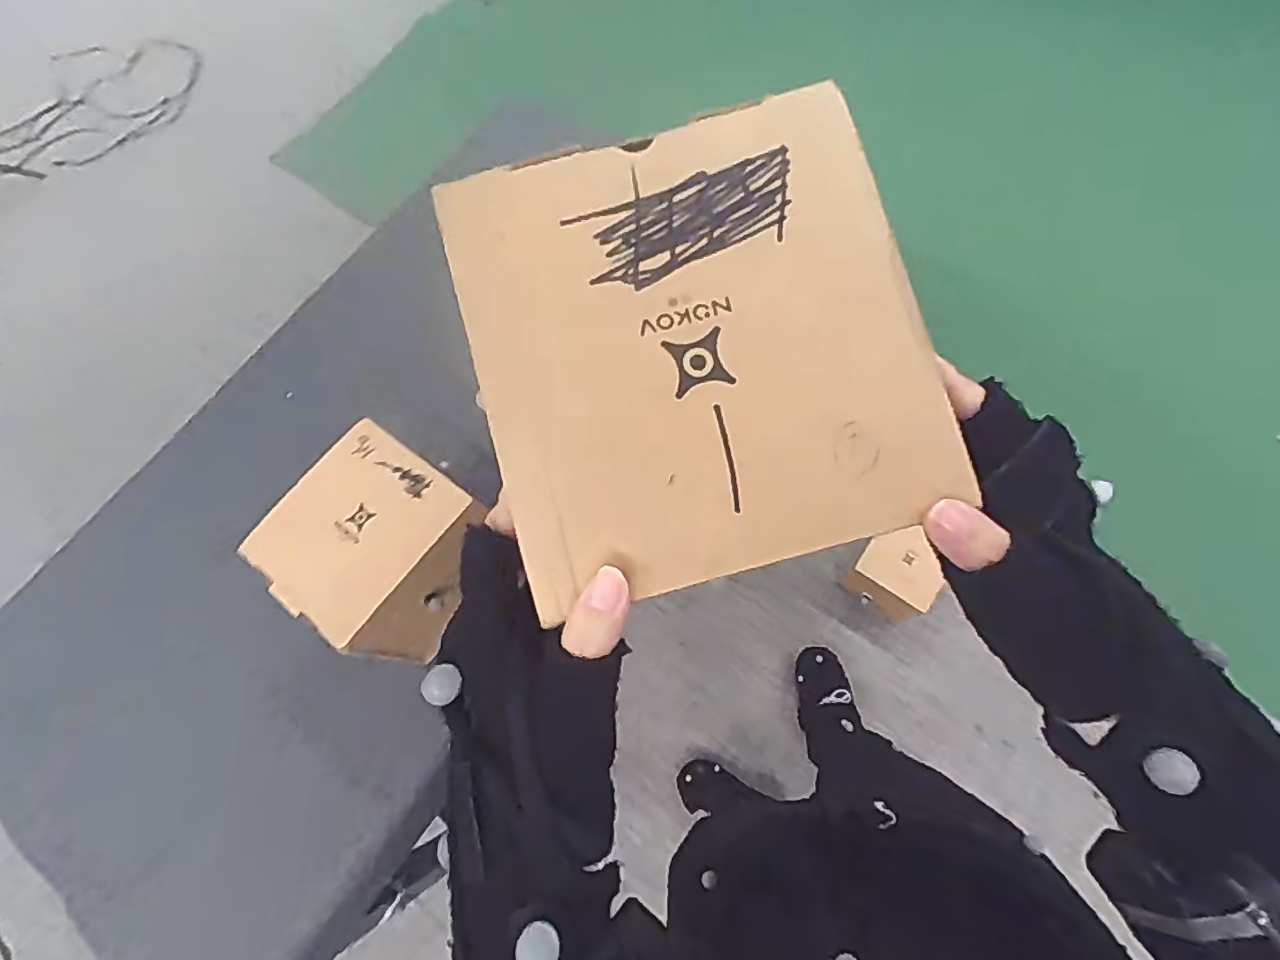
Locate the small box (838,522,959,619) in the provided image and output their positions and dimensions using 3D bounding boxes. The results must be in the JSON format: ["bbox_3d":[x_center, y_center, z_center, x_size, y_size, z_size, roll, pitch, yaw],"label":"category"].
[{"bbox_3d":[0.579,0.196,1.238,0.168,0.176,0.179,35,78,18],"label":"small box"}]

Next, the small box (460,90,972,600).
[{"bbox_3d":[0.026,-0.047,0.286,0.168,0.176,0.179,-13,84,1],"label":"small box"}]

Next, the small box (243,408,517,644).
[{"bbox_3d":[-0.266,0.061,0.595,0.168,0.176,0.179,35,76,18],"label":"small box"}]
